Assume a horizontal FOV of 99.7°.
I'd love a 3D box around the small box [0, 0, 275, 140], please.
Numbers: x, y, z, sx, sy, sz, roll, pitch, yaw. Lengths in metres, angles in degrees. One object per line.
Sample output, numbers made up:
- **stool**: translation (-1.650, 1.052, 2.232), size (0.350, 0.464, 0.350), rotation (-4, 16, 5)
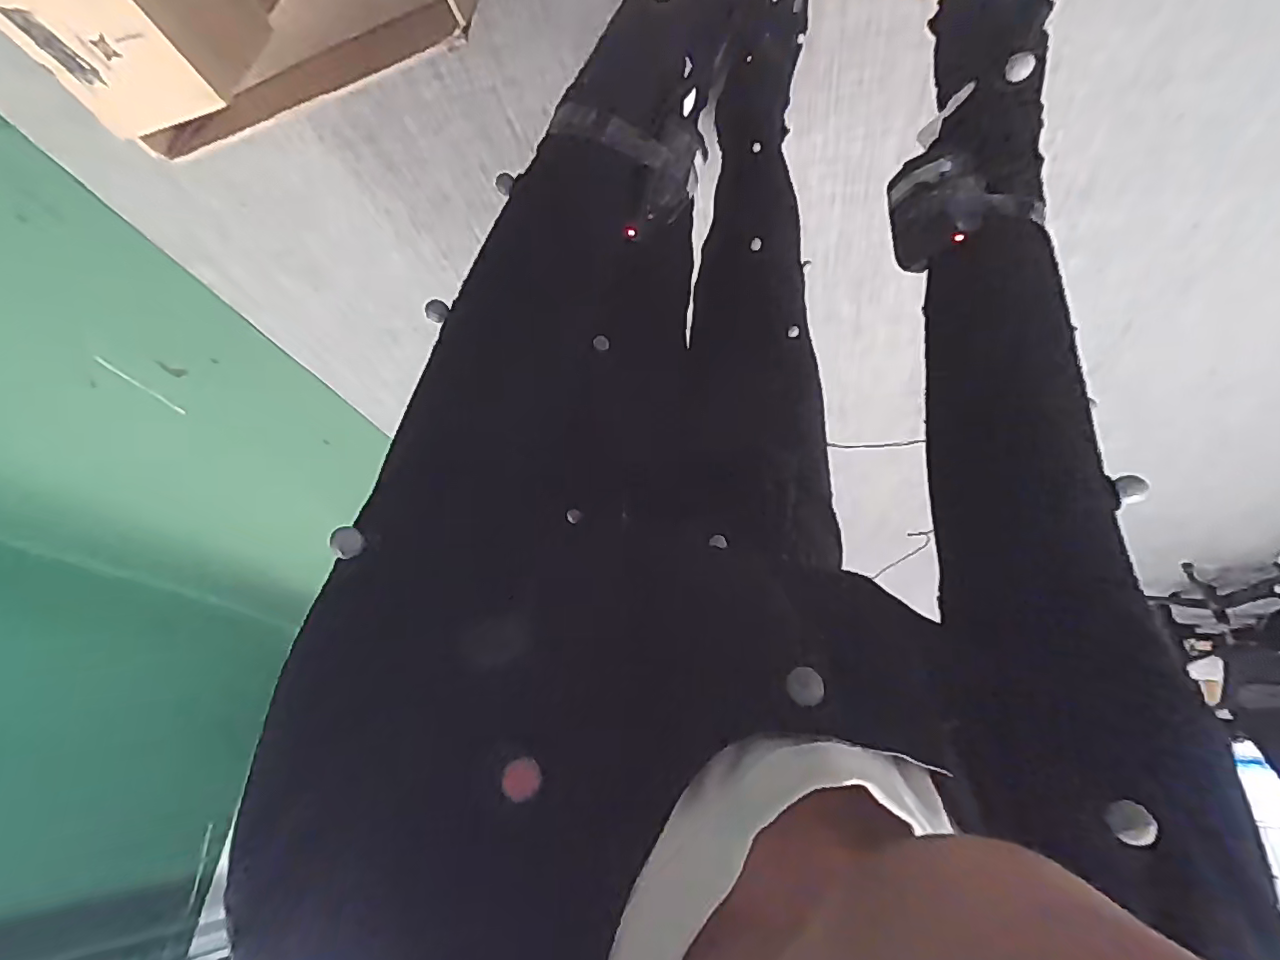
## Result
- **small box**: translation (-0.576, -0.544, 0.629), size (0.179, 0.176, 0.168), rotation (-5, 153, 15)
